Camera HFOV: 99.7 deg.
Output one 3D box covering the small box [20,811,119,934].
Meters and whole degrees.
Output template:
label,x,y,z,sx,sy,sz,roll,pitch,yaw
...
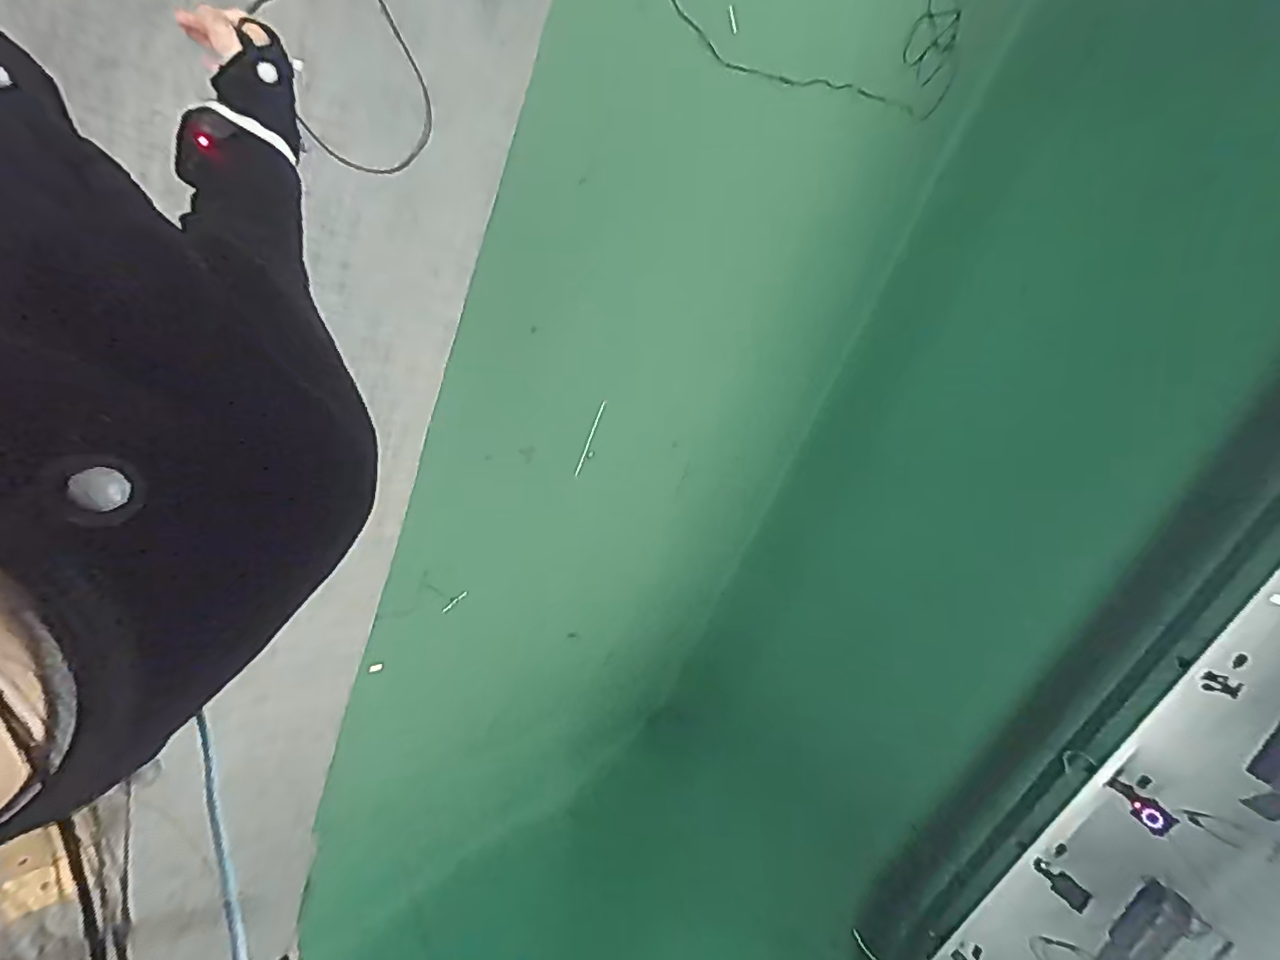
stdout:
label,x,y,z,sx,sy,sz,roll,pitch,yaw
small box,-1.565,1.066,1.483,0.179,0.176,0.168,-7,123,-51
